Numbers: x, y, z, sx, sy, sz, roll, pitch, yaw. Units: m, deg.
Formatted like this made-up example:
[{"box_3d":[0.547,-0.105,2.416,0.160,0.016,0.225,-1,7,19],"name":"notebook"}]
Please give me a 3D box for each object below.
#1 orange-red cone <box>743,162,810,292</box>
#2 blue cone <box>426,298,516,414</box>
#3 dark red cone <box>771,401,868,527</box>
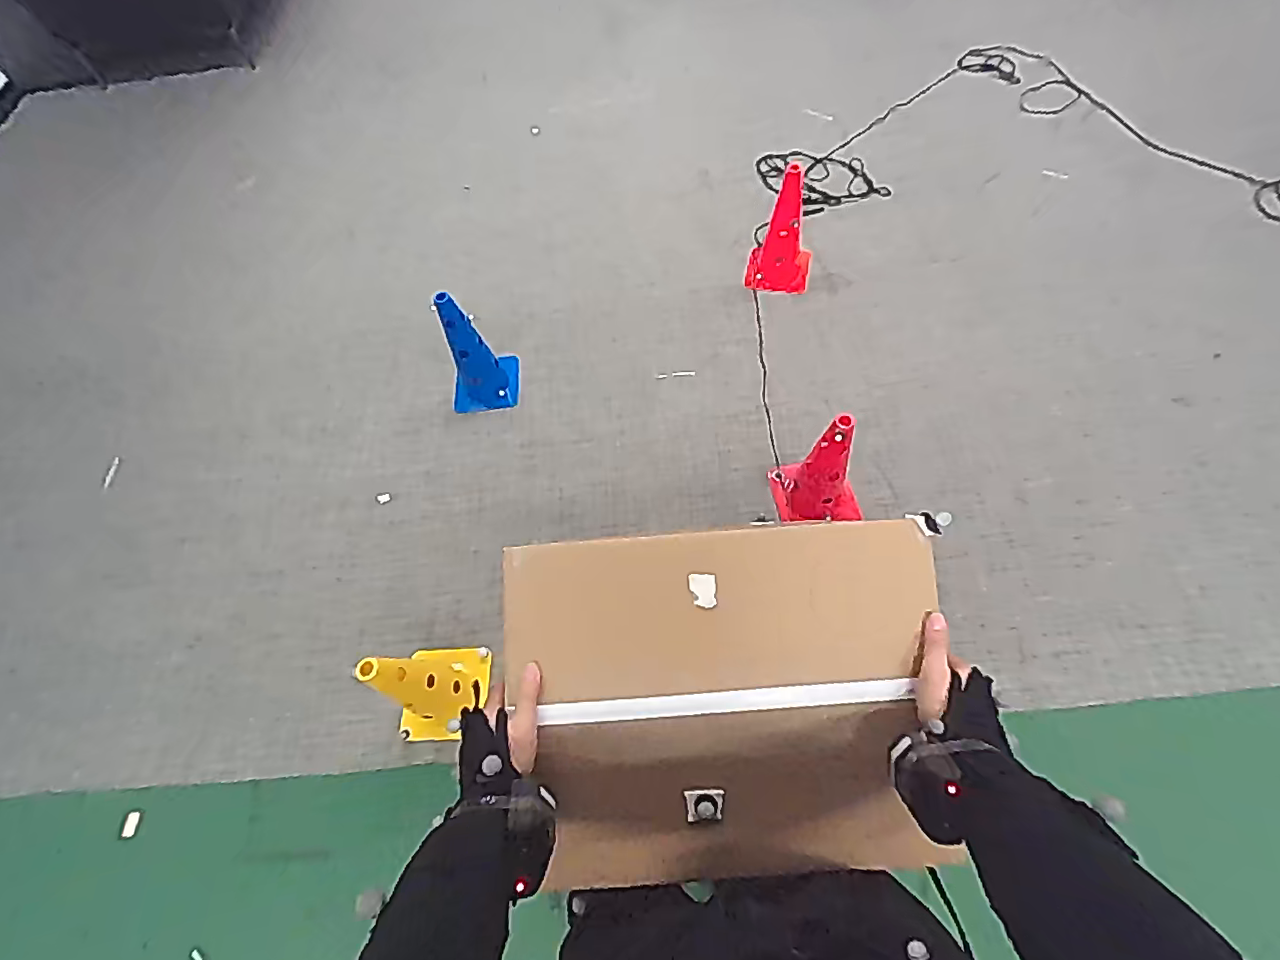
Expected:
[{"box_3d":[0.438,-0.781,1.638,0.199,0.360,0.198,12,65,11],"name":"orange-red cone"},{"box_3d":[-0.501,-0.371,1.547,0.192,0.380,0.193,-6,61,4],"name":"blue cone"},{"box_3d":[0.434,-0.055,1.223,0.202,0.394,0.201,-13,64,0],"name":"dark red cone"}]
